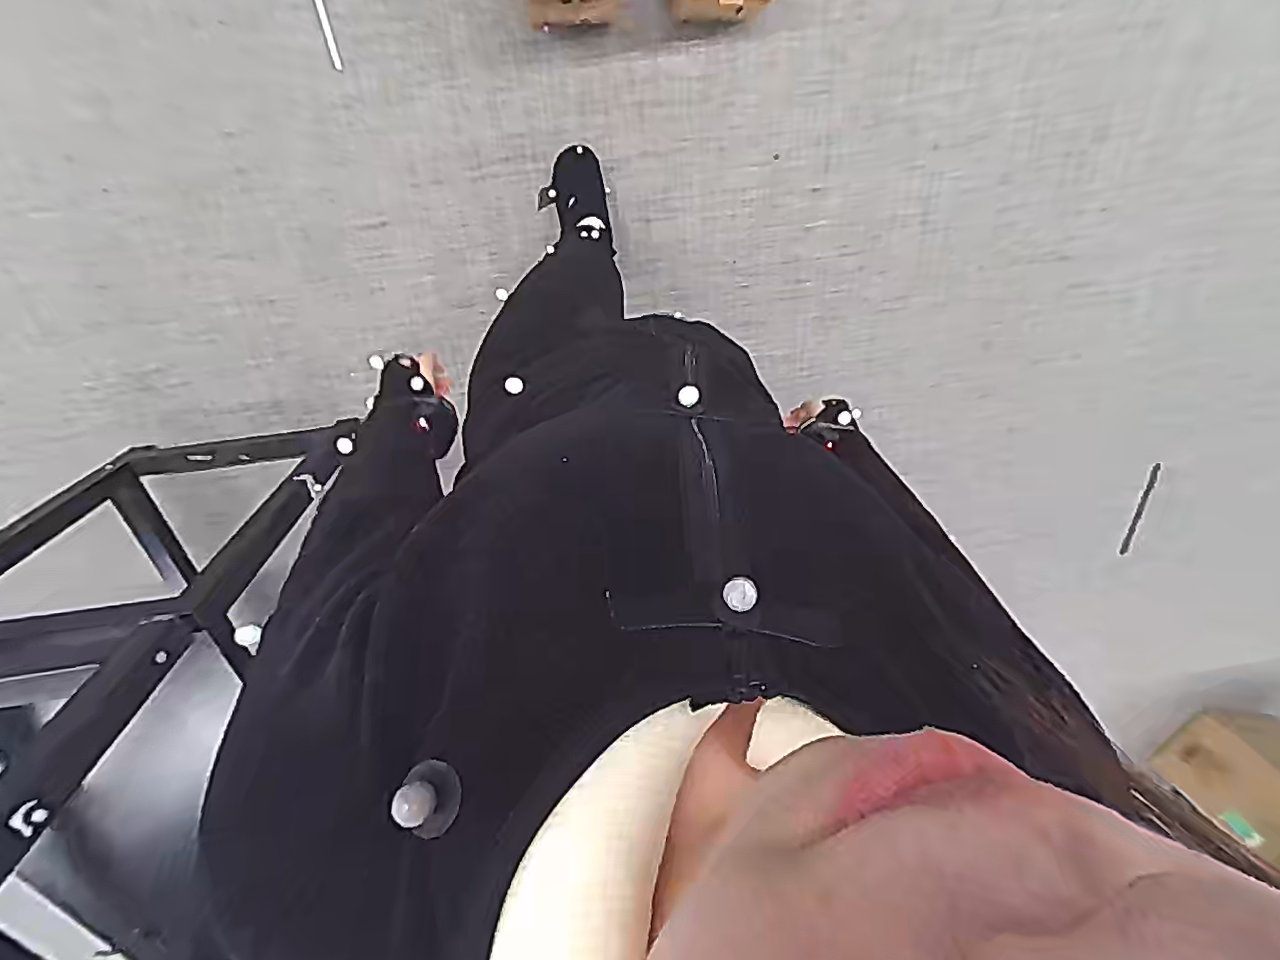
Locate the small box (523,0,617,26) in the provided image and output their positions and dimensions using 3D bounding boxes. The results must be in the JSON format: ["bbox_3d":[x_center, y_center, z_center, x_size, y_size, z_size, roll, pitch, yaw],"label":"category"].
[{"bbox_3d":[-0.132,-0.928,0.954,0.168,0.176,0.179,-7,119,-5],"label":"small box"}]

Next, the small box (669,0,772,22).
[{"bbox_3d":[0.148,-0.960,0.980,0.168,0.176,0.179,-4,119,-7],"label":"small box"}]

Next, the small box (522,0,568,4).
[{"bbox_3d":[-0.116,-0.849,0.811,0.179,0.176,0.168,-11,120,-3],"label":"small box"}]
